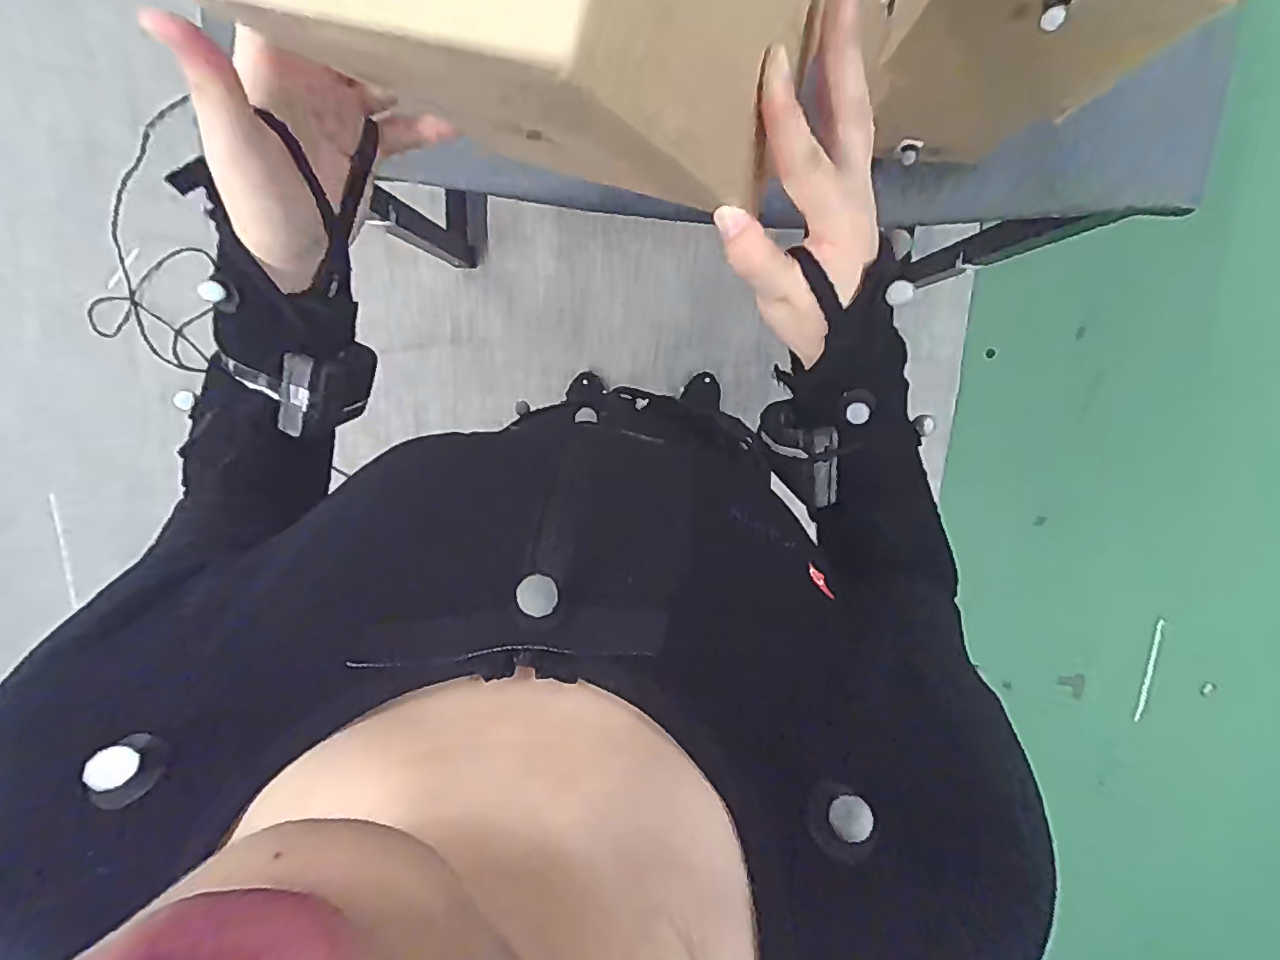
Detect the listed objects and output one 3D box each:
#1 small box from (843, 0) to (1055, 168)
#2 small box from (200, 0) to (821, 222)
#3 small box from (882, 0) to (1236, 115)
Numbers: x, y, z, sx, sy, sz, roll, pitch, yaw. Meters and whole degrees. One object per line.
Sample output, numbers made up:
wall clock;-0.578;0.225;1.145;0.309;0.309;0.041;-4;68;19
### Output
small box;0.326;-0.456;0.562;0.168;0.176;0.179;5;101;2
small box;-0.029;-0.219;0.200;0.179;0.168;0.176;29;115;21
small box;0.319;-0.412;0.405;0.179;0.176;0.168;15;100;1
